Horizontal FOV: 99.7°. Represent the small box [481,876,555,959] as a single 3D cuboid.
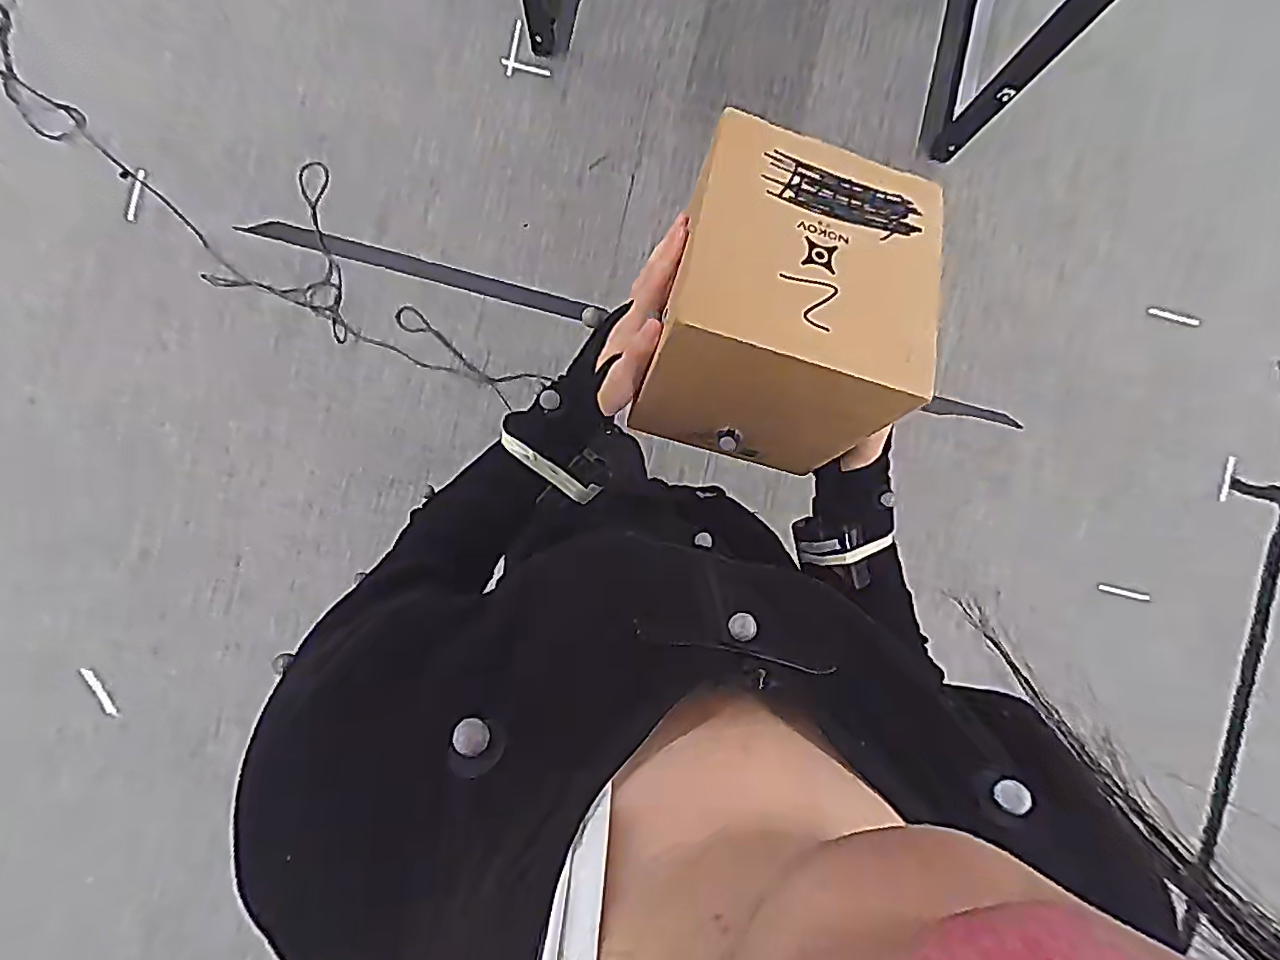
[{"bbox_3d":[-0.320,1.166,1.399,0.179,0.176,0.168,7,90,-4],"label":"small box"}]
